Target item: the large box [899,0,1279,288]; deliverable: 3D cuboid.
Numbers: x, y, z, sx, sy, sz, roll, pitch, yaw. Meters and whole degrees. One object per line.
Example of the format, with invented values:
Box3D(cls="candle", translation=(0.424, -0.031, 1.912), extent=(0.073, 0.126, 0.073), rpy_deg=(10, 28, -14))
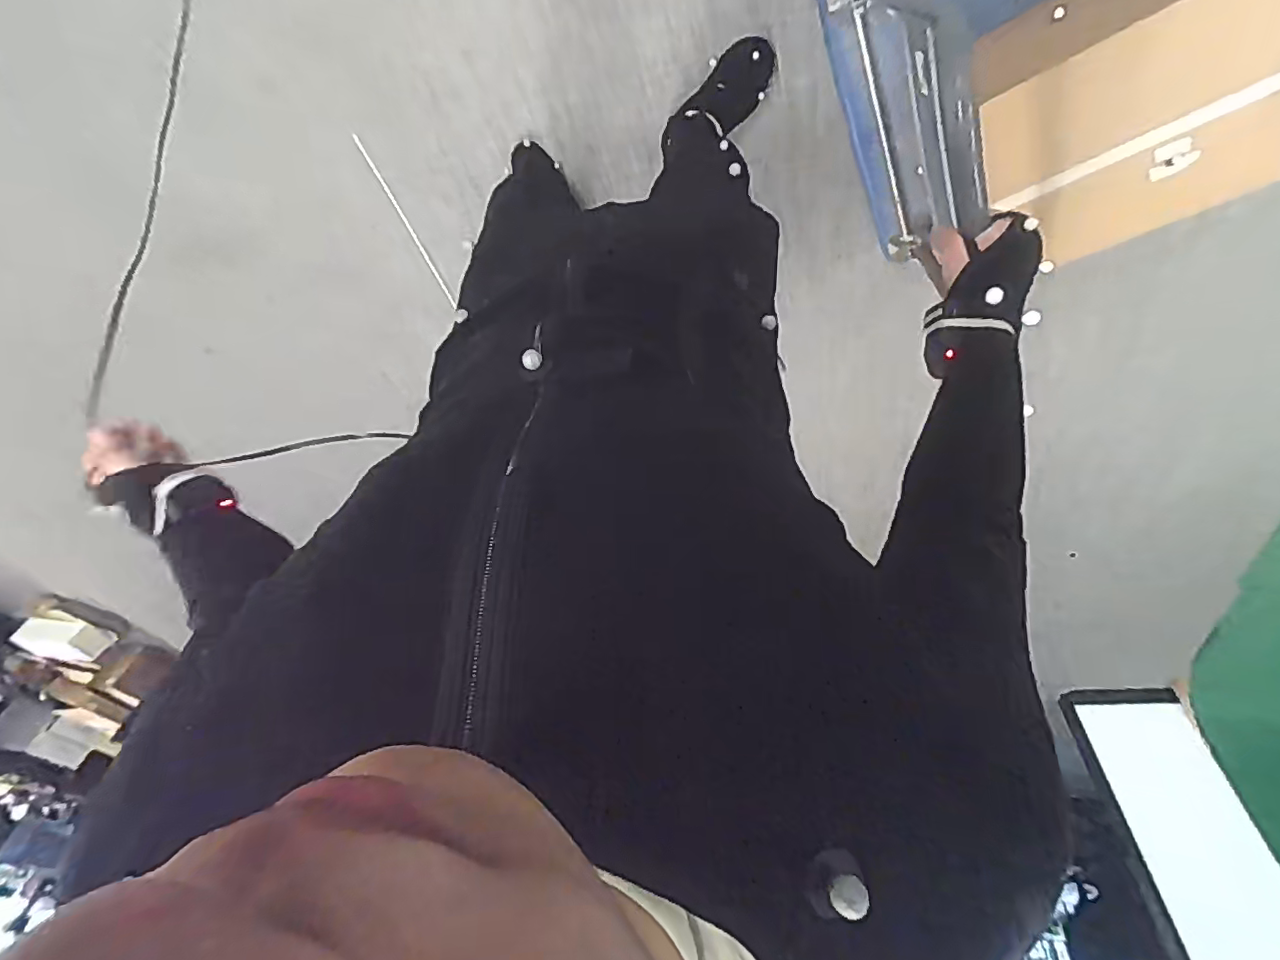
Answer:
Box3D(cls="large box", translation=(0.712, -0.603, 0.907), extent=(0.408, 0.320, 0.320), rpy_deg=(-19, 130, 25))
